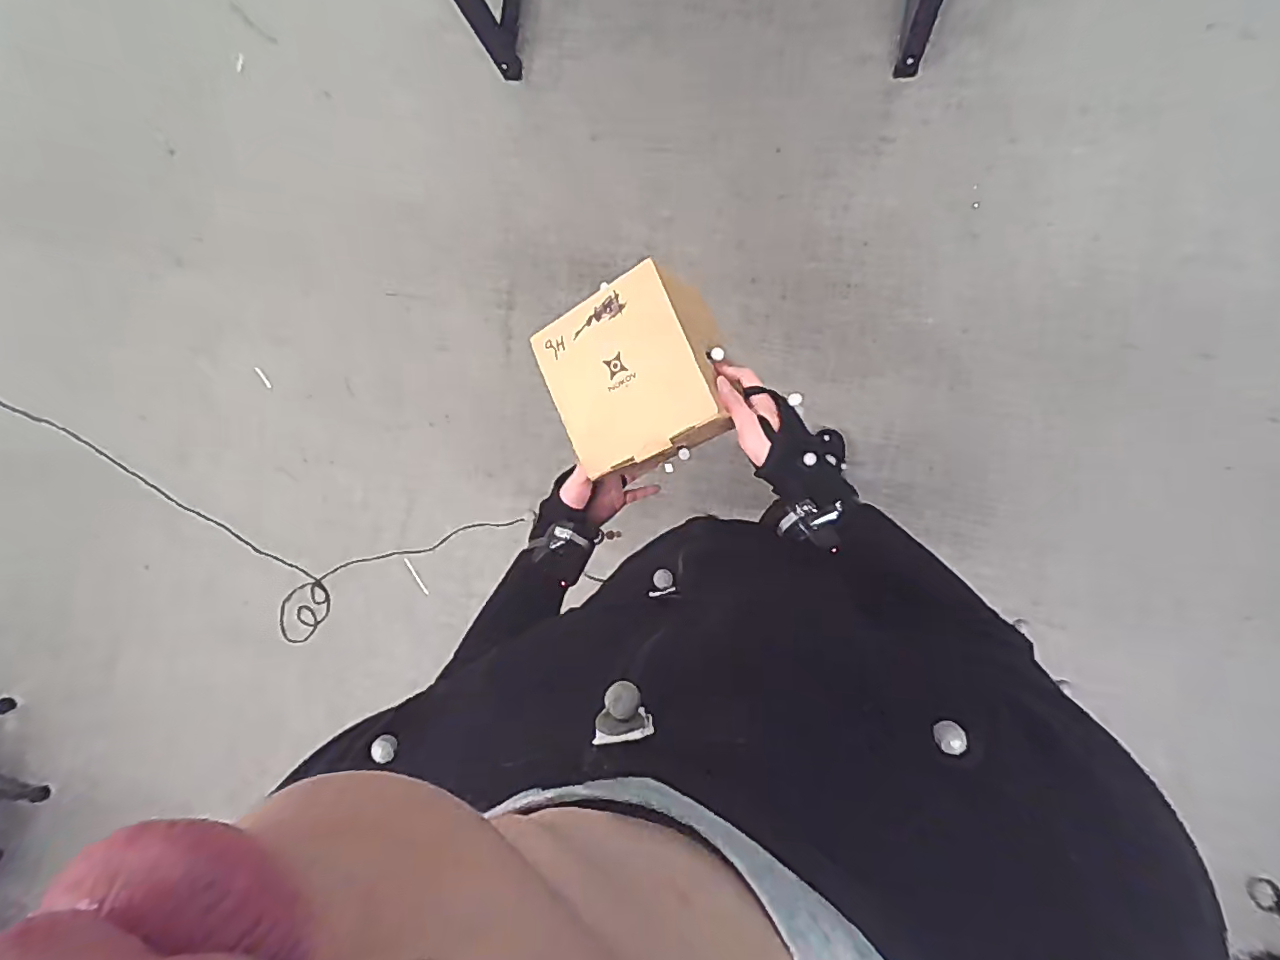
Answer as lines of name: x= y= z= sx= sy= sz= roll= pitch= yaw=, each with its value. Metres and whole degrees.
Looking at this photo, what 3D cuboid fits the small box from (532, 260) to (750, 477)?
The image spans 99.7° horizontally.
small box: x=0.011 y=-0.122 z=0.635 sx=0.168 sy=0.176 sz=0.179 roll=-25 pitch=86 yaw=24
